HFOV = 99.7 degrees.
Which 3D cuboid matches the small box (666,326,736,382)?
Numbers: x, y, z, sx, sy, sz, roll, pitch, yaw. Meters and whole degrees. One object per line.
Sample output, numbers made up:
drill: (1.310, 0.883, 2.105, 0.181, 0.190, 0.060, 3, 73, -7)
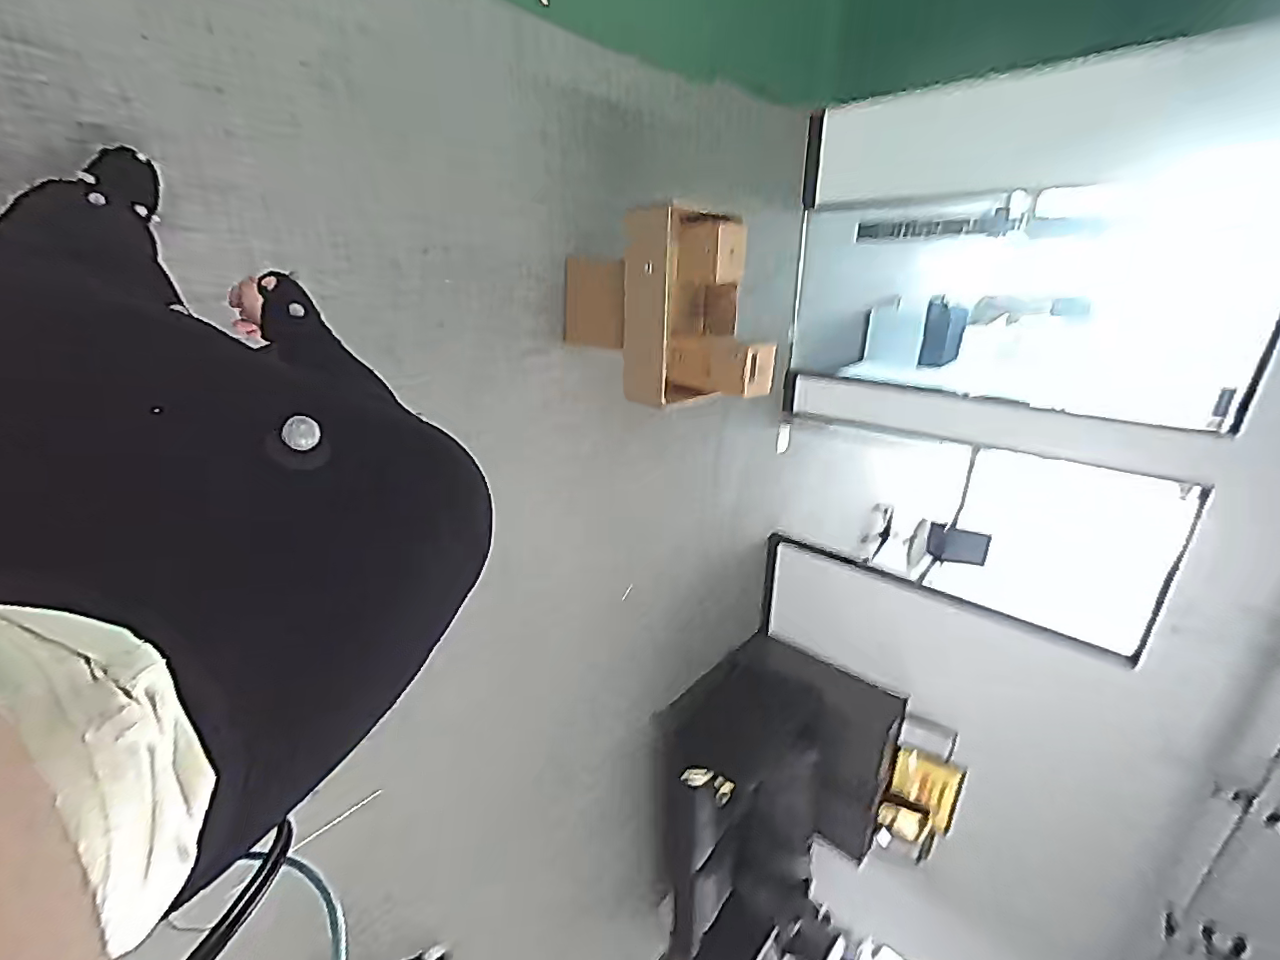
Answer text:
small box: (0.216, -0.454, 1.924, 0.179, 0.176, 0.168, -20, 120, -43)
